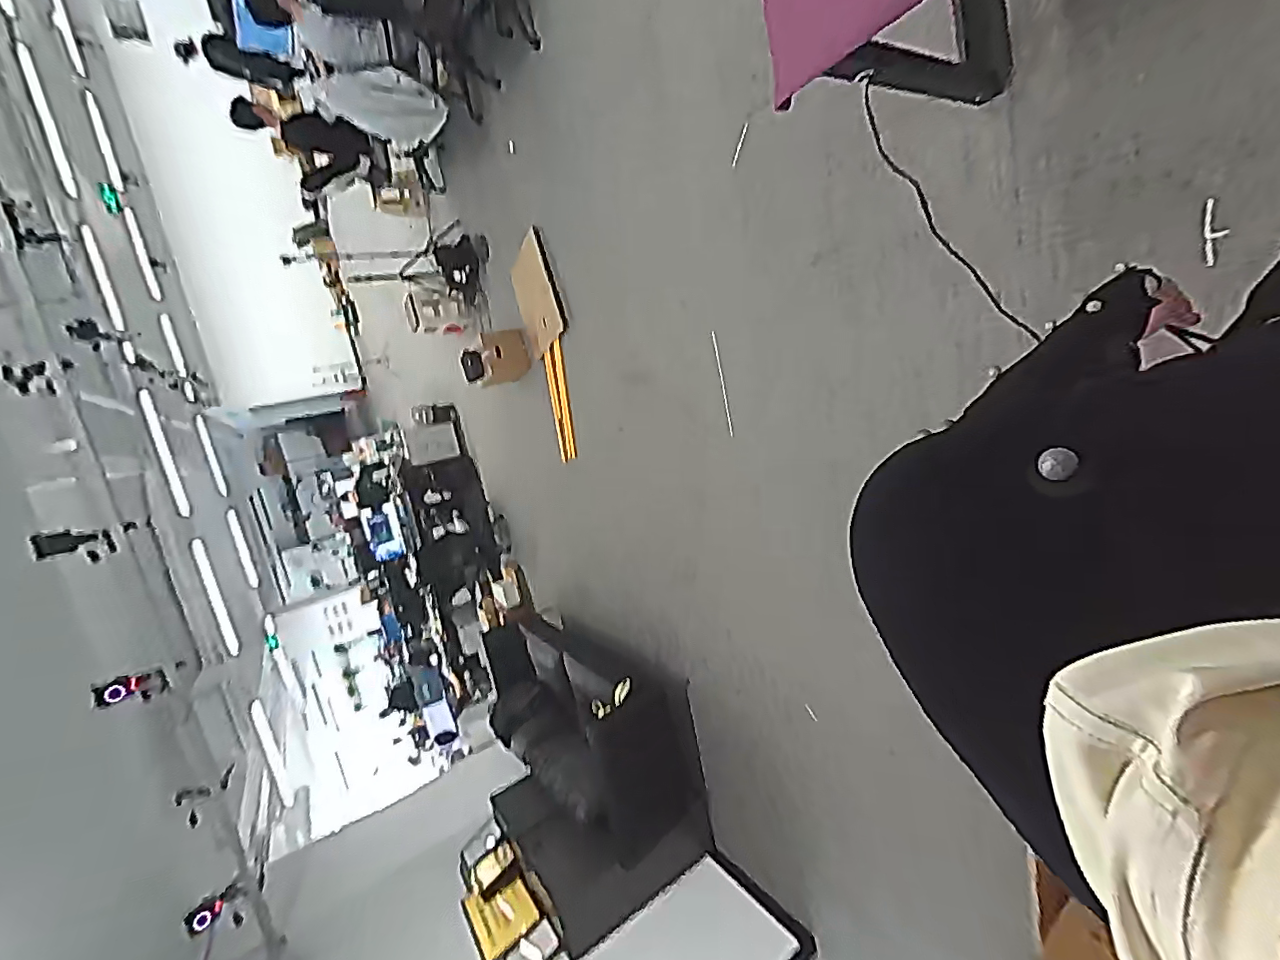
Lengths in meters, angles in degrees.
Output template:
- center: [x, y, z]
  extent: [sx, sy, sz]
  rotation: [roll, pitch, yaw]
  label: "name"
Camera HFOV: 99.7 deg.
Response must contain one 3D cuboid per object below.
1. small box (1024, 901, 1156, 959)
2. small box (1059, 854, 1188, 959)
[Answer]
- center: [0.867, 0.976, 1.032]
  extent: [0.168, 0.176, 0.179]
  rotation: [3, 108, 56]
  label: "small box"
- center: [0.999, 0.935, 1.119]
  extent: [0.168, 0.176, 0.179]
  rotation: [4, 110, 56]
  label: "small box"
